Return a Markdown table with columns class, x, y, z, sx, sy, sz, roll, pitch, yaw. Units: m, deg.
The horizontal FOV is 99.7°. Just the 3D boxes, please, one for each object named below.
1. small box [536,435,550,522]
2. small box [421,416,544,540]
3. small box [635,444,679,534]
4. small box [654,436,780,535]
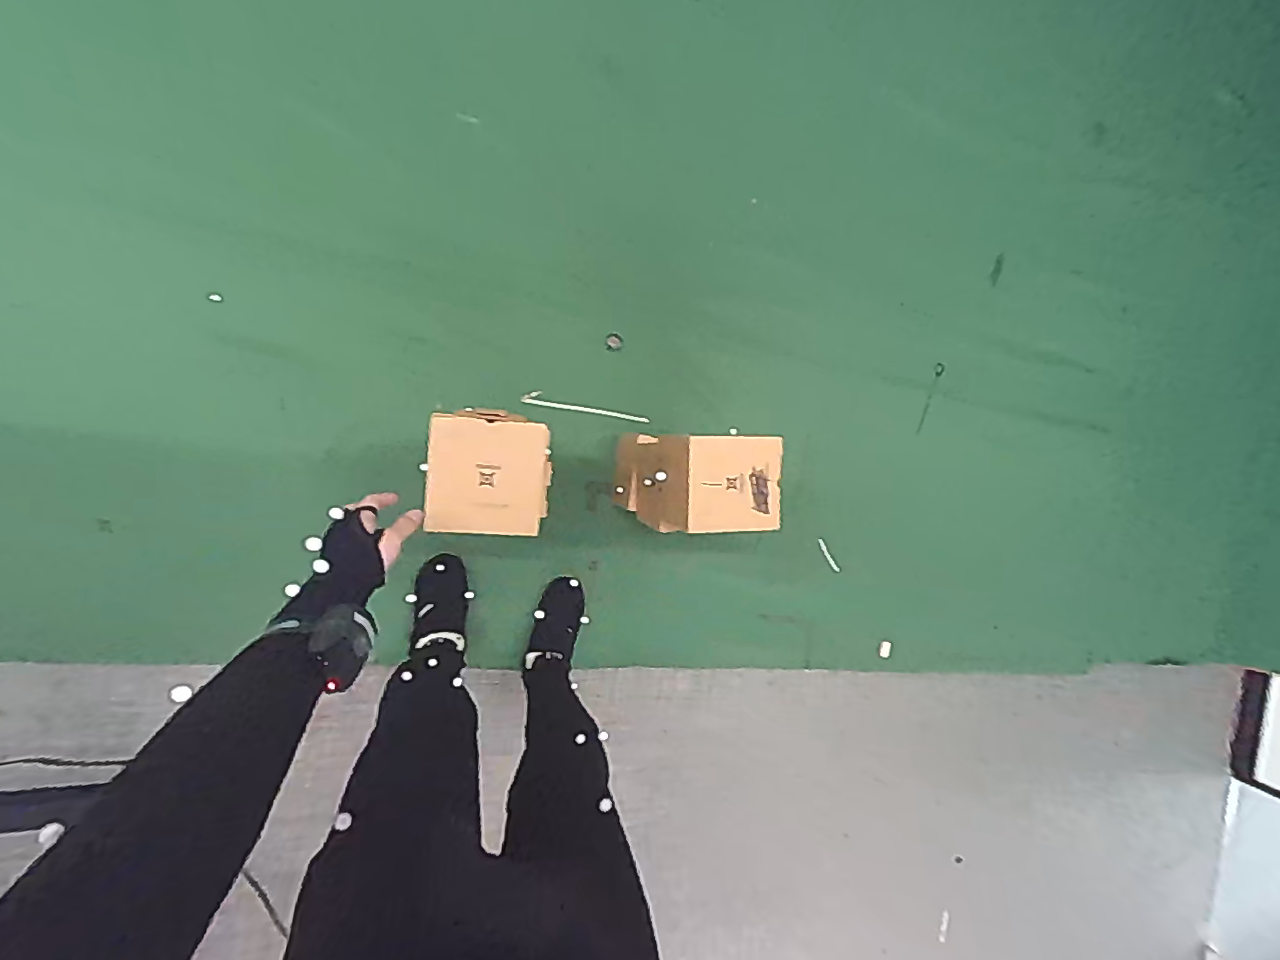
| class | x | y | z | sx | sy | sz | roll | pitch | yaw |
| --- | --- | --- | --- | --- | --- | --- | --- | --- | --- |
| small box | -0.276 | -0.012 | 1.041 | 0.179 | 0.176 | 0.168 | 2 | 93 | -17 |
| small box | -0.253 | -0.005 | 0.878 | 0.168 | 0.176 | 0.179 | 4 | 93 | -14 |
| small box | 0.089 | 0.010 | 1.149 | 0.168 | 0.176 | 0.179 | -3 | 96 | -16 |
| small box | 0.135 | 0.004 | 0.990 | 0.179 | 0.176 | 0.168 | -1 | 95 | -16 |
